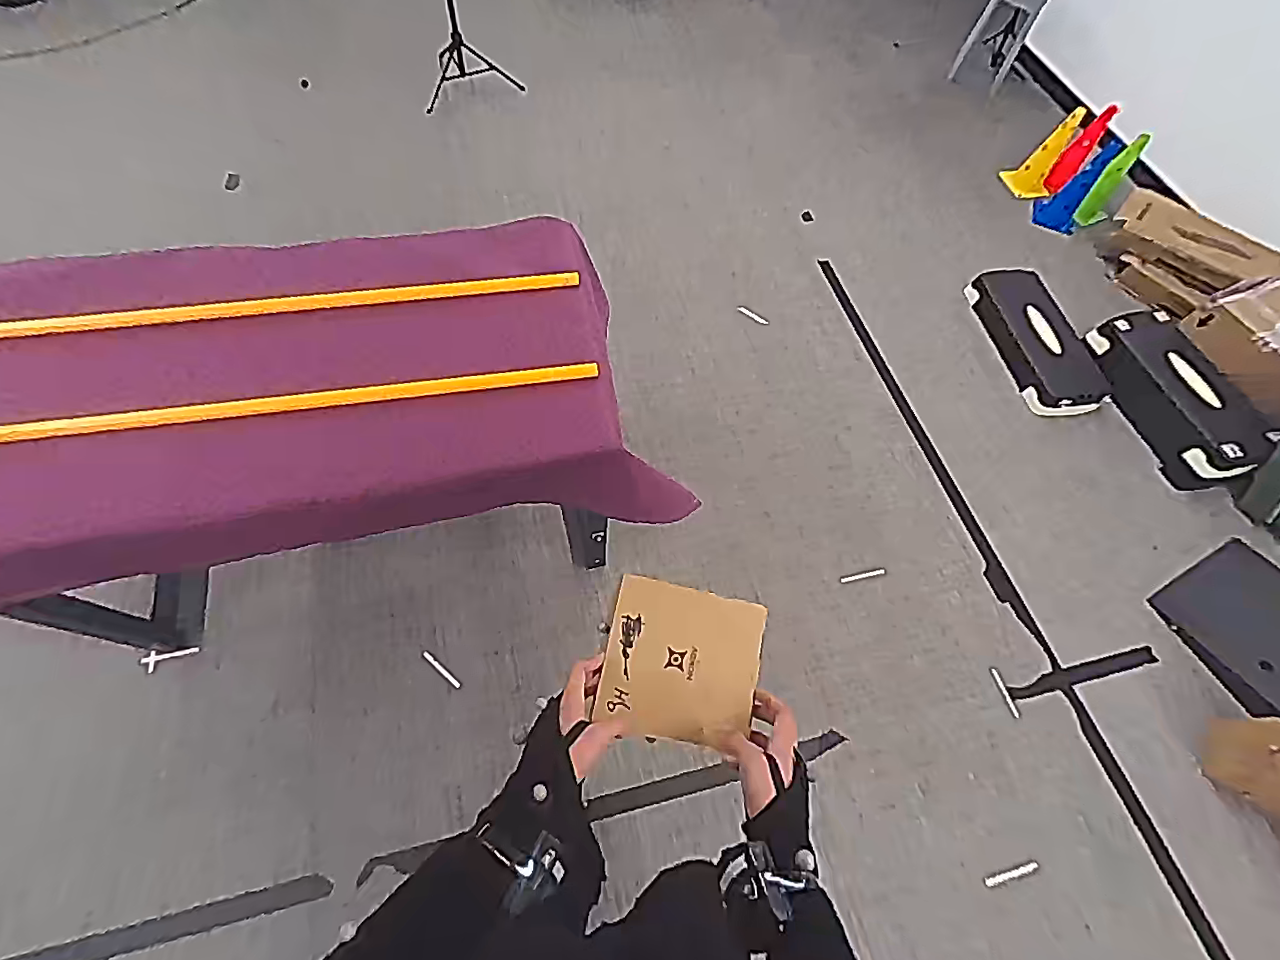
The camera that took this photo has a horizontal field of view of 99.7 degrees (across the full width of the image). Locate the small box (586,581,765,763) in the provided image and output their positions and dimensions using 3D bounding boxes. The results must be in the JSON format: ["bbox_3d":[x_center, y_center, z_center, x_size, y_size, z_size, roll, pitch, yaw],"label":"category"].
[{"bbox_3d":[0.036,0.235,0.686,0.179,0.176,0.168,15,72,-2],"label":"small box"}]
